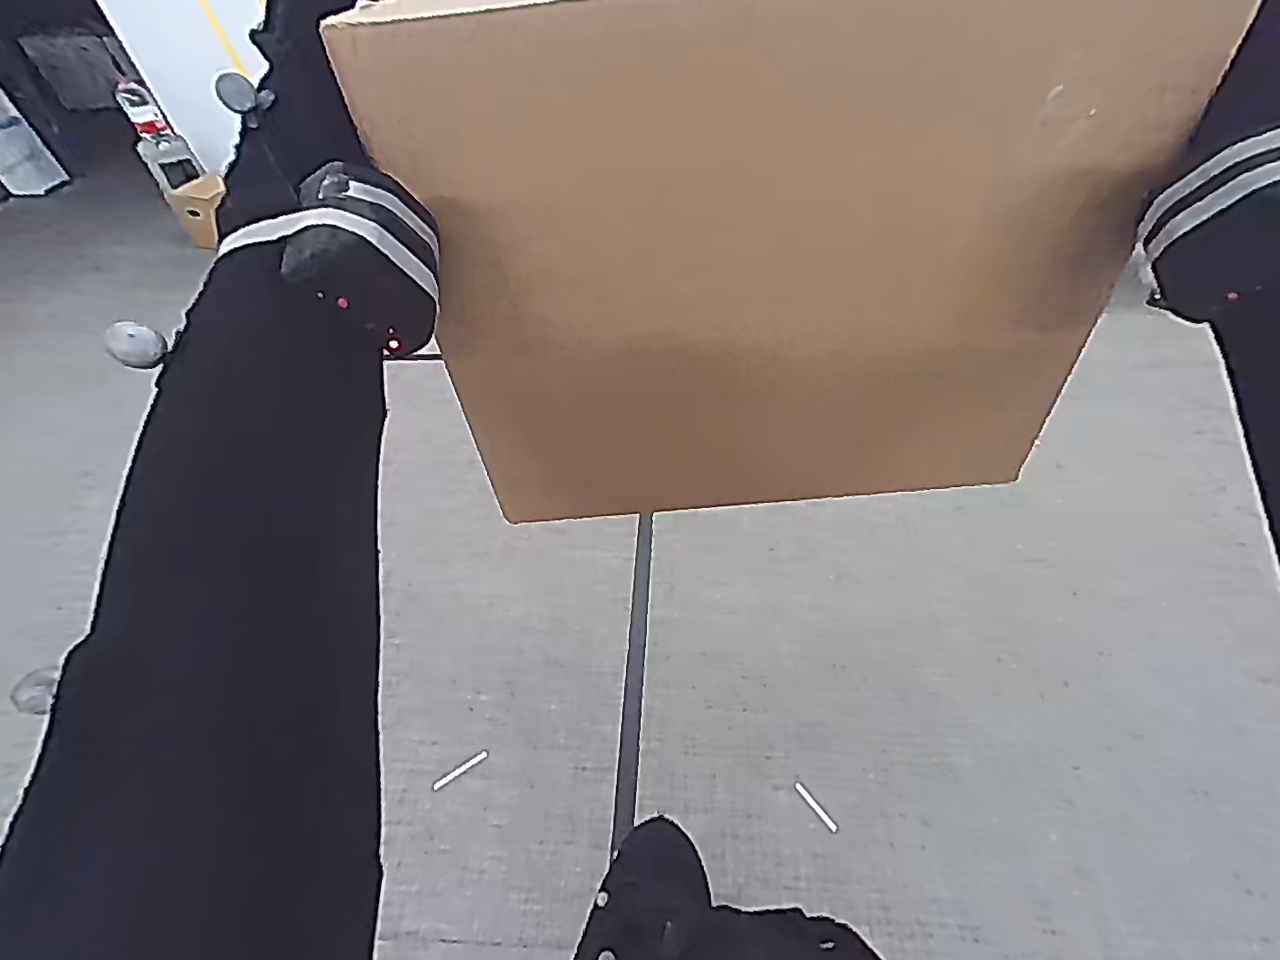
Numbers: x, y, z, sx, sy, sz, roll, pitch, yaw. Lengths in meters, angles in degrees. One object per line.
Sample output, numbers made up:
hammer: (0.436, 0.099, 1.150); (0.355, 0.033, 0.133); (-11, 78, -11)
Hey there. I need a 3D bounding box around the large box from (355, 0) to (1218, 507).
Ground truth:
large box: (0.072, -0.203, 0.444); (0.408, 0.320, 0.320); (-5, 43, 1)
